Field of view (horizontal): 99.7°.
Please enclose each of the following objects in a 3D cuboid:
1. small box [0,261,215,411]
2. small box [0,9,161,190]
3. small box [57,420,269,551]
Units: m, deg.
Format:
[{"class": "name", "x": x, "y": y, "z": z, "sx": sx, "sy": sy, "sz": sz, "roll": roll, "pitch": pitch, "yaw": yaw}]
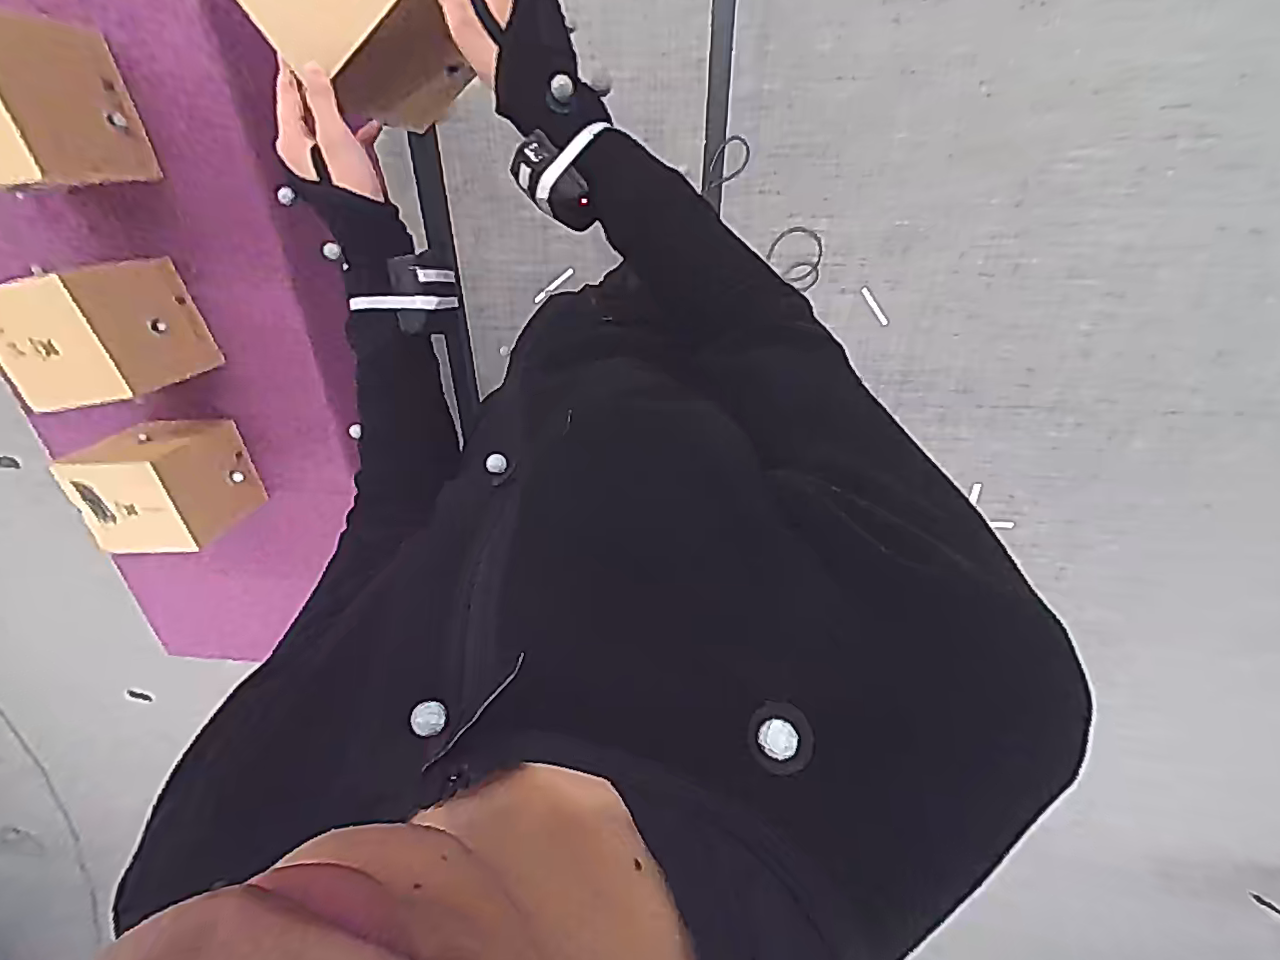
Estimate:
[{"class": "small box", "x": -0.782, "y": -0.216, "z": 0.795, "sx": 0.179, "sy": 0.176, "sz": 0.168, "roll": -6, "pitch": 118, "yaw": 10}, {"class": "small box", "x": -0.763, "y": -0.452, "z": 0.661, "sx": 0.179, "sy": 0.176, "sz": 0.168, "roll": 0, "pitch": 120, "yaw": 8}, {"class": "small box", "x": -0.791, "y": 0.005, "z": 0.920, "sx": 0.179, "sy": 0.176, "sz": 0.168, "roll": -1, "pitch": 119, "yaw": 7}]
